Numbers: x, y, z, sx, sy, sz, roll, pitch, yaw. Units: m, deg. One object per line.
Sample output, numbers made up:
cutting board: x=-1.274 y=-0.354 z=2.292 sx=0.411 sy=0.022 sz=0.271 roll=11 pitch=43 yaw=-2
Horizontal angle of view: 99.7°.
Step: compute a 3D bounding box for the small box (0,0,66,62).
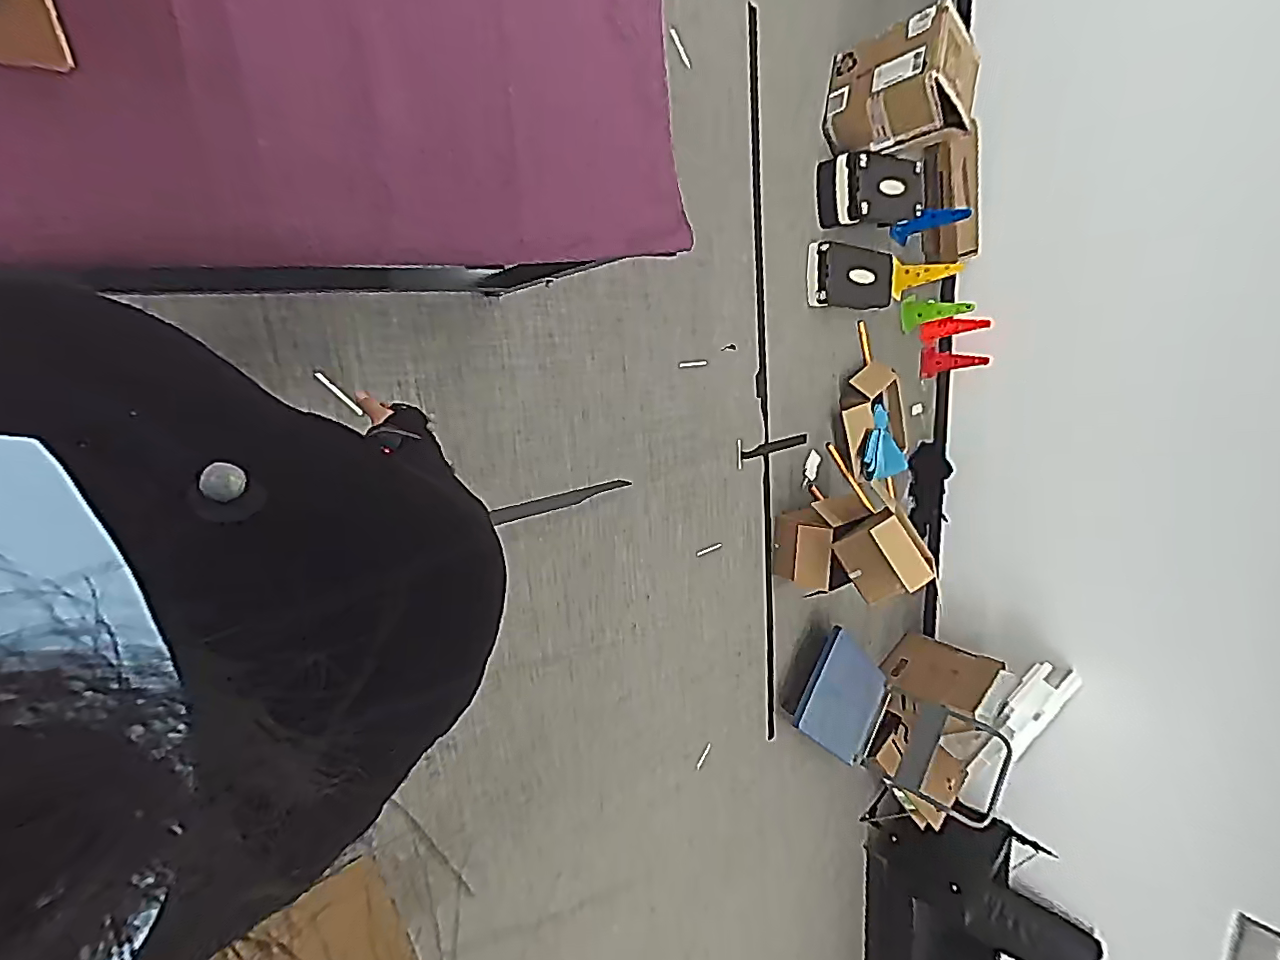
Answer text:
small box: x=-0.570 y=-0.441 z=0.387 sx=0.179 sy=0.176 sz=0.168 roll=-20 pitch=110 yaw=-38
